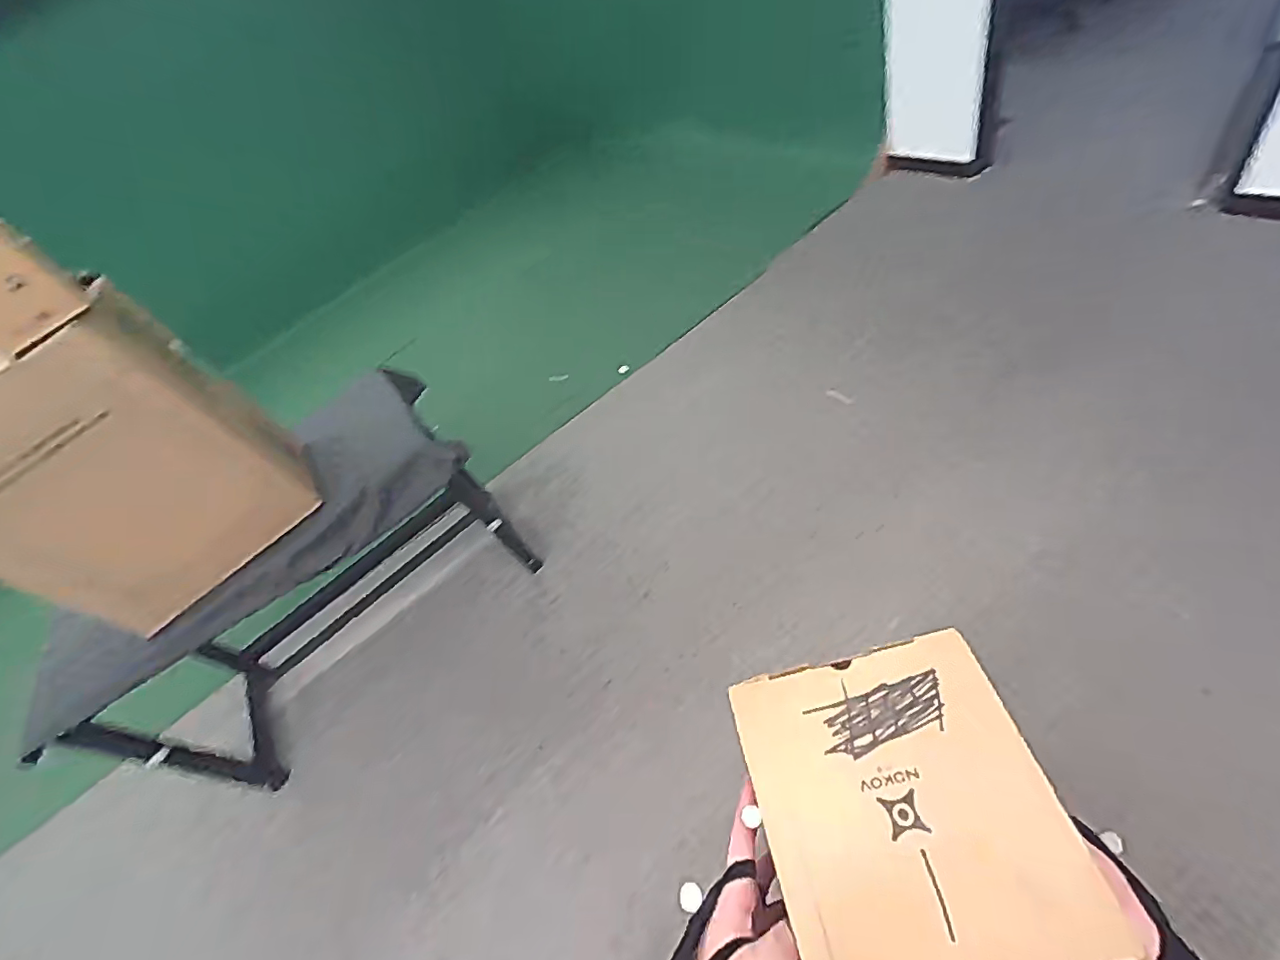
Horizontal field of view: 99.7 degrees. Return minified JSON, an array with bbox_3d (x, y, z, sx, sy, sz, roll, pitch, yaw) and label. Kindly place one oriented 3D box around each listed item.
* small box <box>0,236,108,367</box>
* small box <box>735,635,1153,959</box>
[{"bbox_3d":[-1.187,-0.342,1.044,0.168,0.176,0.179,-45,47,-17],"label":"small box"},{"bbox_3d":[0.175,0.240,0.381,0.168,0.176,0.179,-18,50,4],"label":"small box"}]
